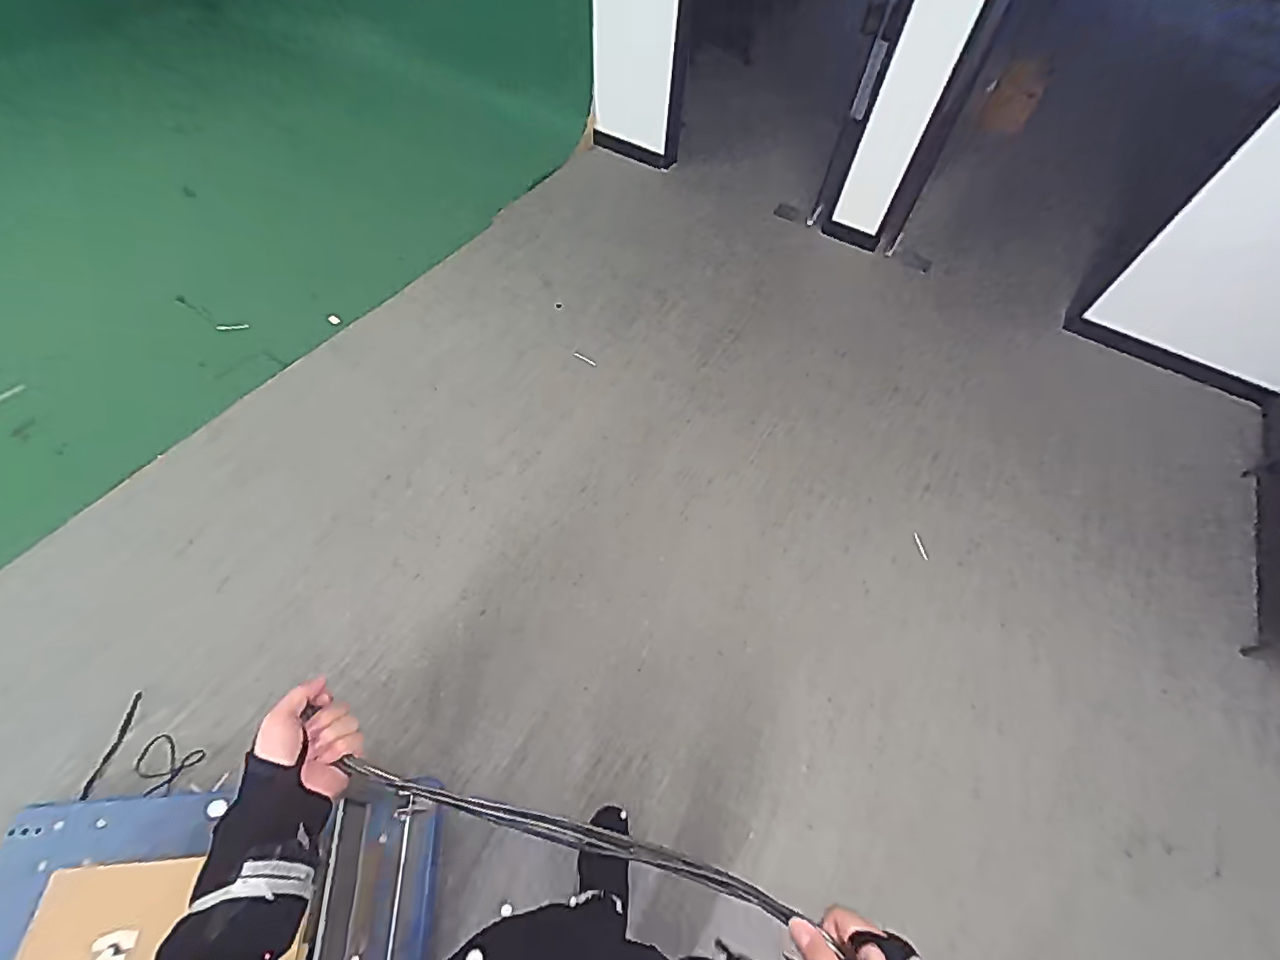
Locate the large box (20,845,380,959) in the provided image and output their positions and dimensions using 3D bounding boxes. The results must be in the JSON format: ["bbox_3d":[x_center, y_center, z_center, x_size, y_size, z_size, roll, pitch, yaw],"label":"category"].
[{"bbox_3d":[-0.715,0.821,0.909,0.408,0.320,0.320,-2,56,-5],"label":"large box"}]
